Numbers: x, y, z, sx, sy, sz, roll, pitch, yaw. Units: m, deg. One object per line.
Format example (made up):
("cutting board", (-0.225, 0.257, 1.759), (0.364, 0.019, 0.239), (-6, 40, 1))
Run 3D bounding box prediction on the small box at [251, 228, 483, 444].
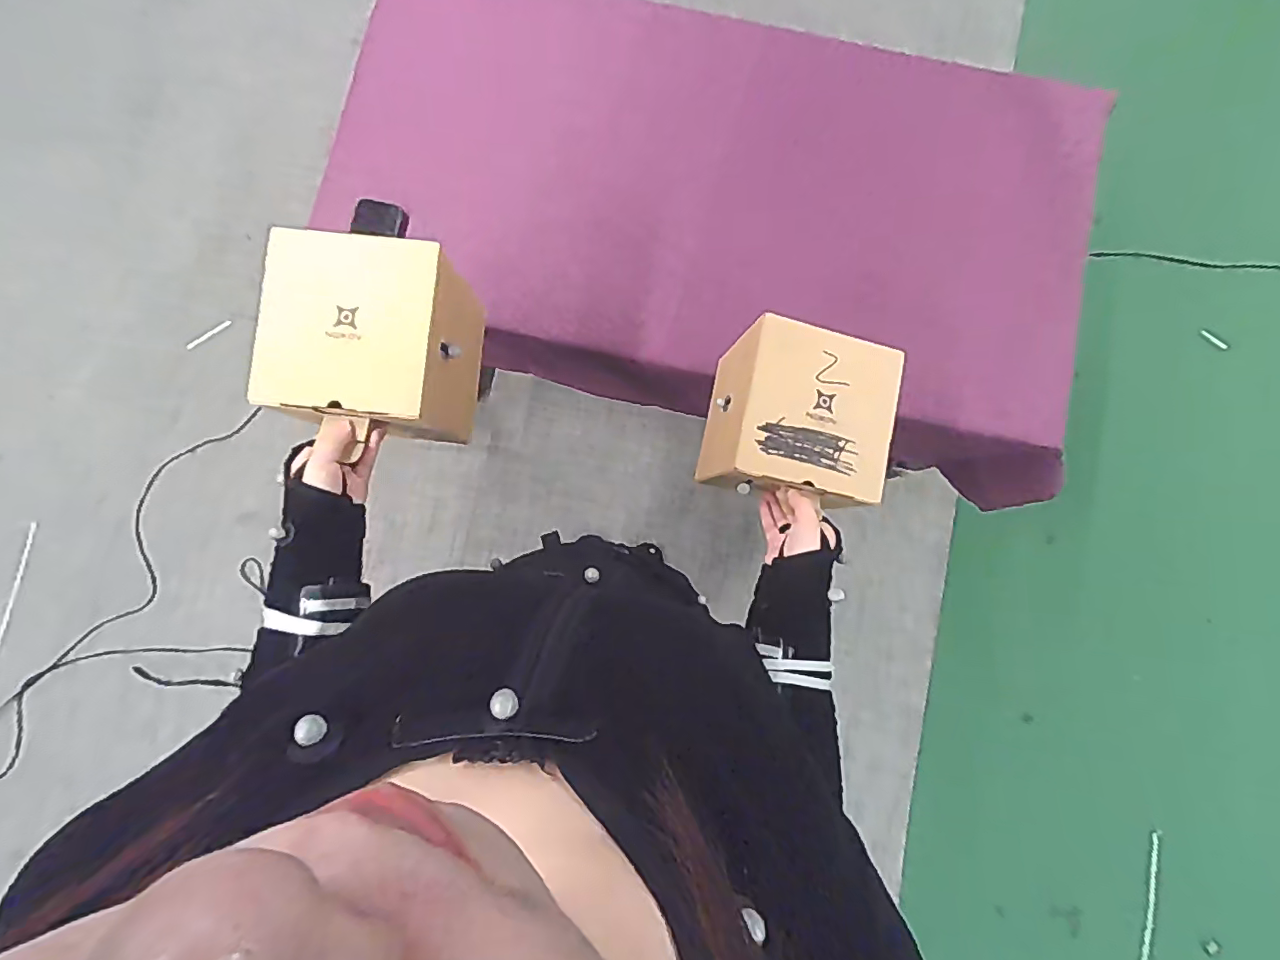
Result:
("small box", (-0.279, -0.143, 0.595), (0.168, 0.176, 0.179), (6, 87, -1))
